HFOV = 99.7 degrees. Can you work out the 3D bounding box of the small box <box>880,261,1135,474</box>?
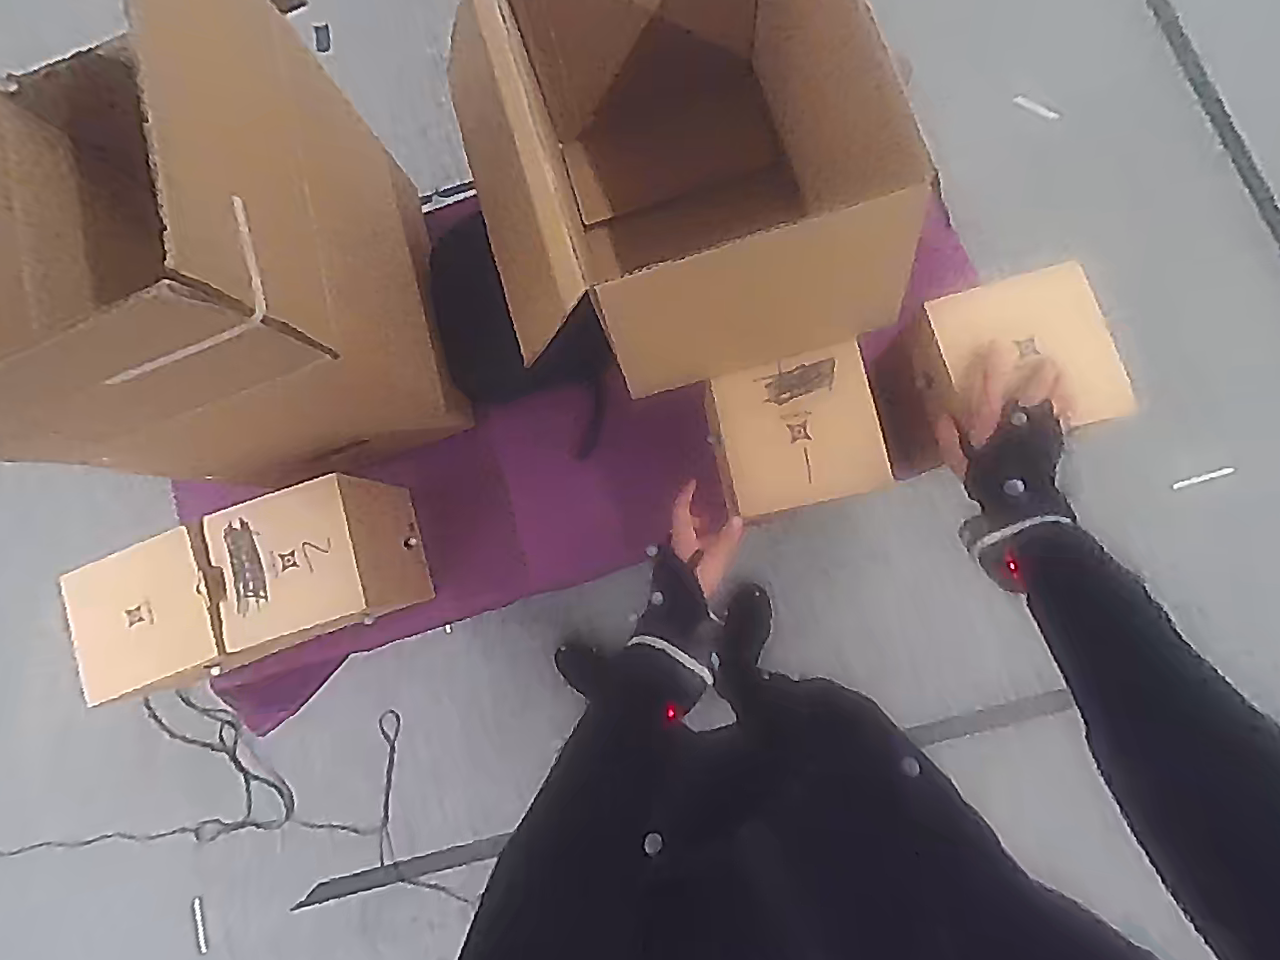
[{"bbox_3d":[0.409,-0.119,0.641,0.168,0.176,0.179,-15,81,6],"label":"small box"}]
